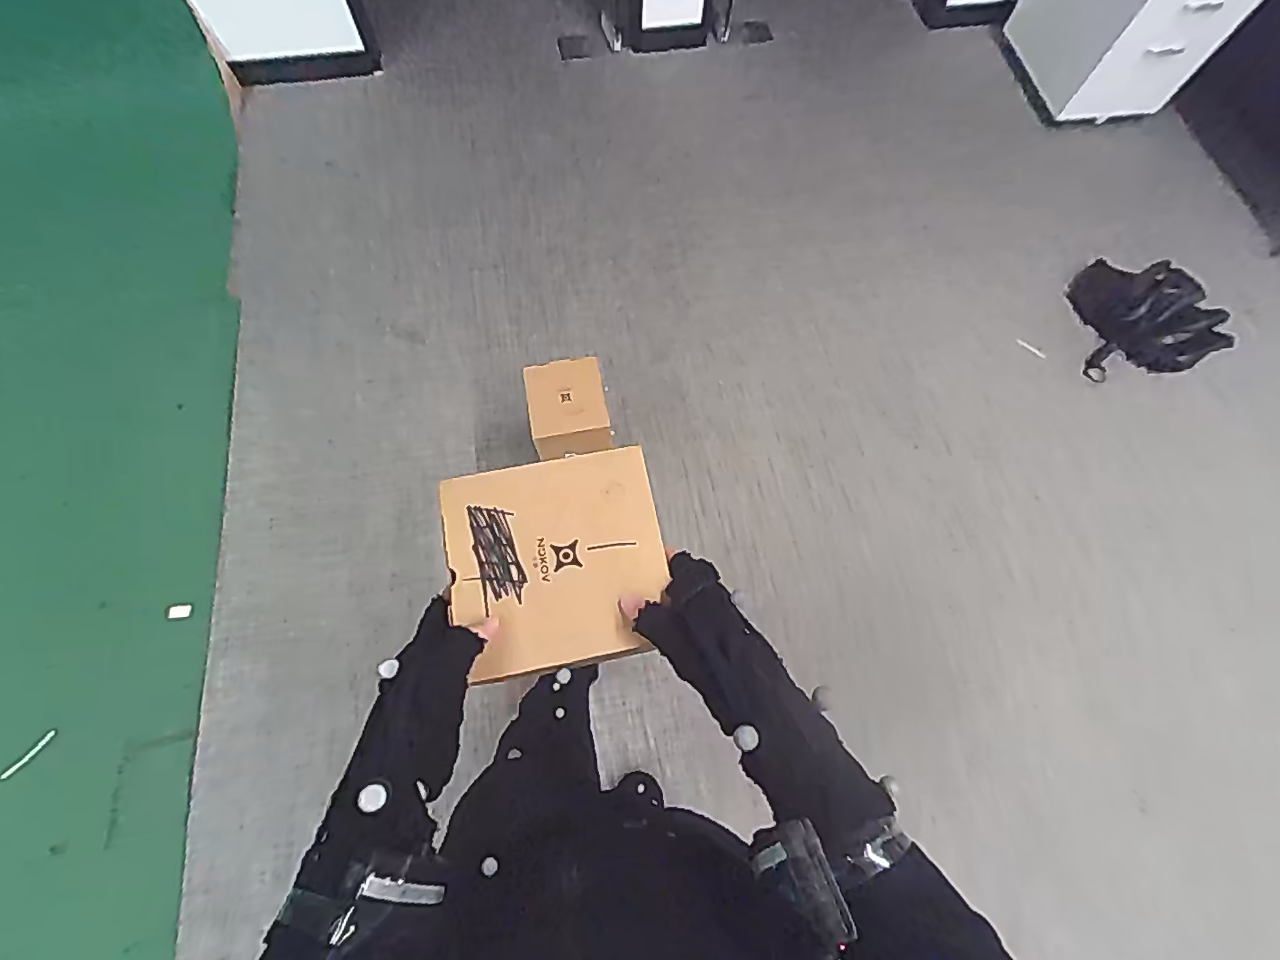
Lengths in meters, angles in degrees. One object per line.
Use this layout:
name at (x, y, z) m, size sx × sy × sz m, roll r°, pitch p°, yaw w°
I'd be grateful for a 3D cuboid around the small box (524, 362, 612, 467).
small box at (-0.160, -0.141, 1.229) m, size 0.168 × 0.176 × 0.179 m, roll -11°, pitch 71°, yaw -4°

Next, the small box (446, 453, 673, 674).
small box at (-0.073, 0.092, 0.532) m, size 0.179 × 0.176 × 0.168 m, roll -10°, pitch 72°, yaw -6°
